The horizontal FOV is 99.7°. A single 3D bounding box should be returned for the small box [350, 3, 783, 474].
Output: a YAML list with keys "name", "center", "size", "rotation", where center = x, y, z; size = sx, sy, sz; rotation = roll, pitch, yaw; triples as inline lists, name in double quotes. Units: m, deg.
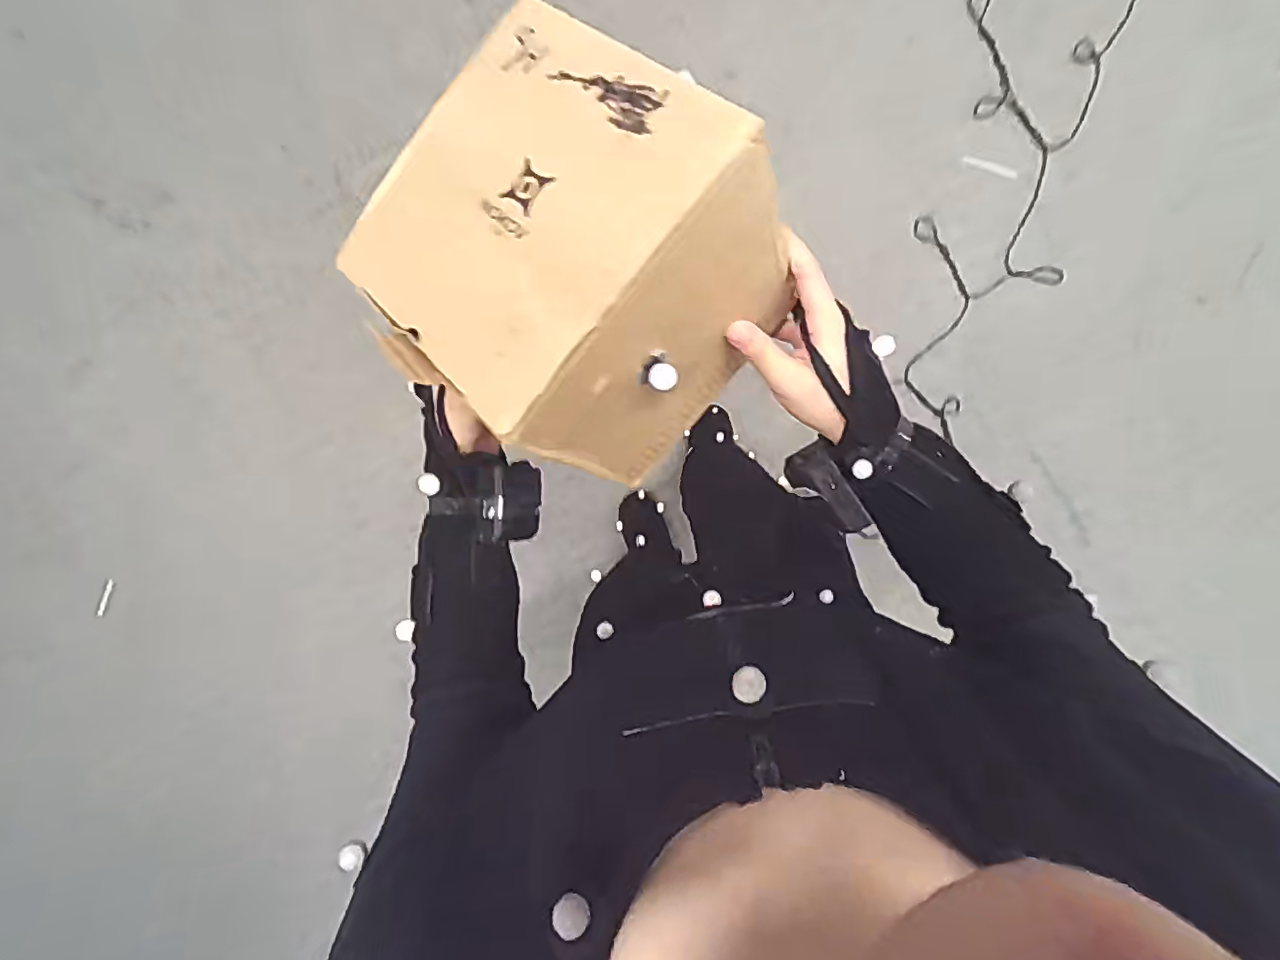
- name: "small box"
  center: [-0.028, -0.124, 0.341]
  size: [0.168, 0.176, 0.179]
  rotation: [43, 97, 21]
